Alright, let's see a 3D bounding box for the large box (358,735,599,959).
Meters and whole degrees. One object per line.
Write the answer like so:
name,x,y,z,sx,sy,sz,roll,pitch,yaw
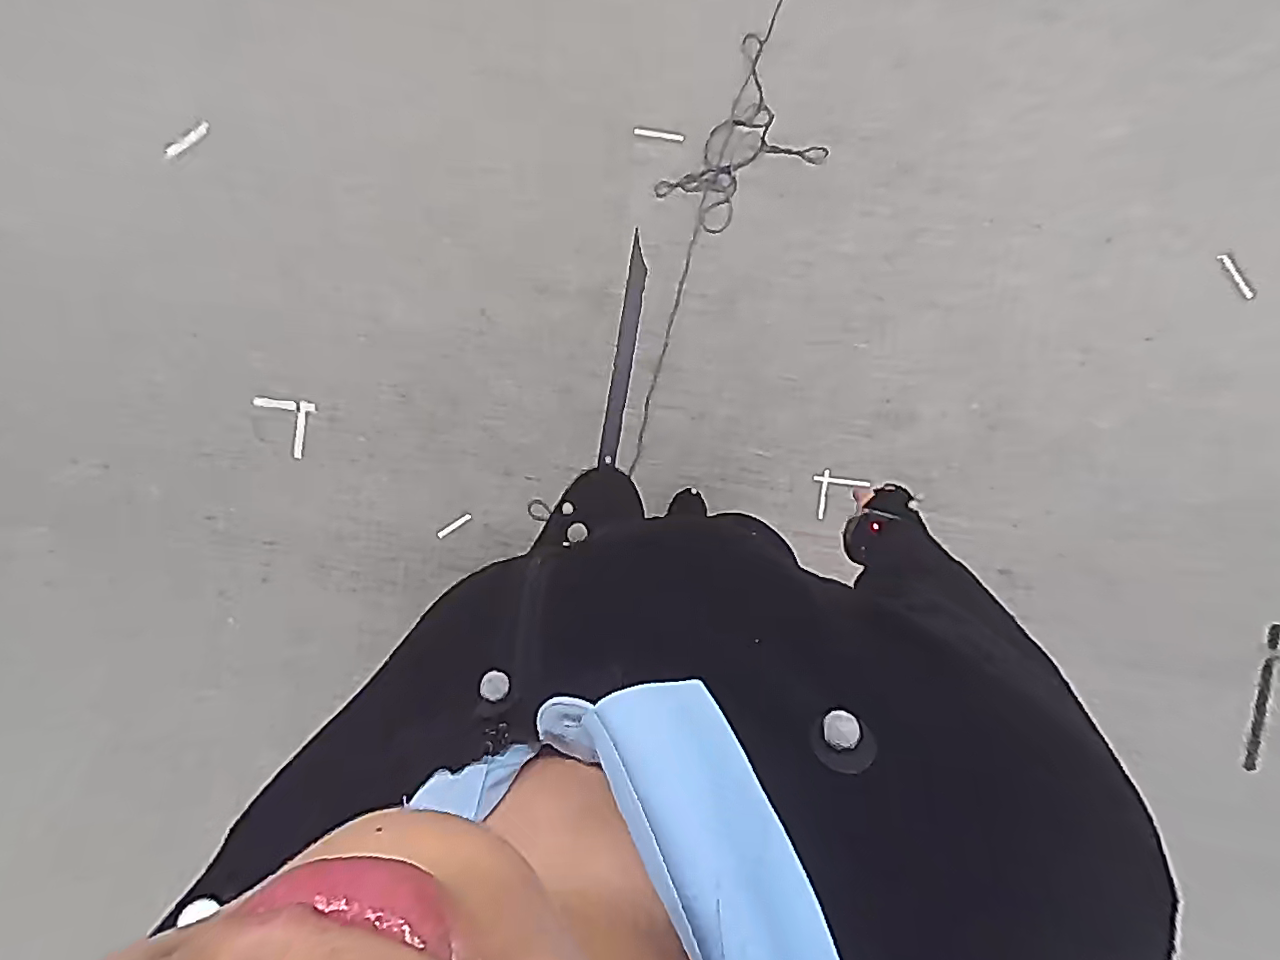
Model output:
large box,-0.316,0.795,1.170,0.408,0.320,0.320,8,88,2
